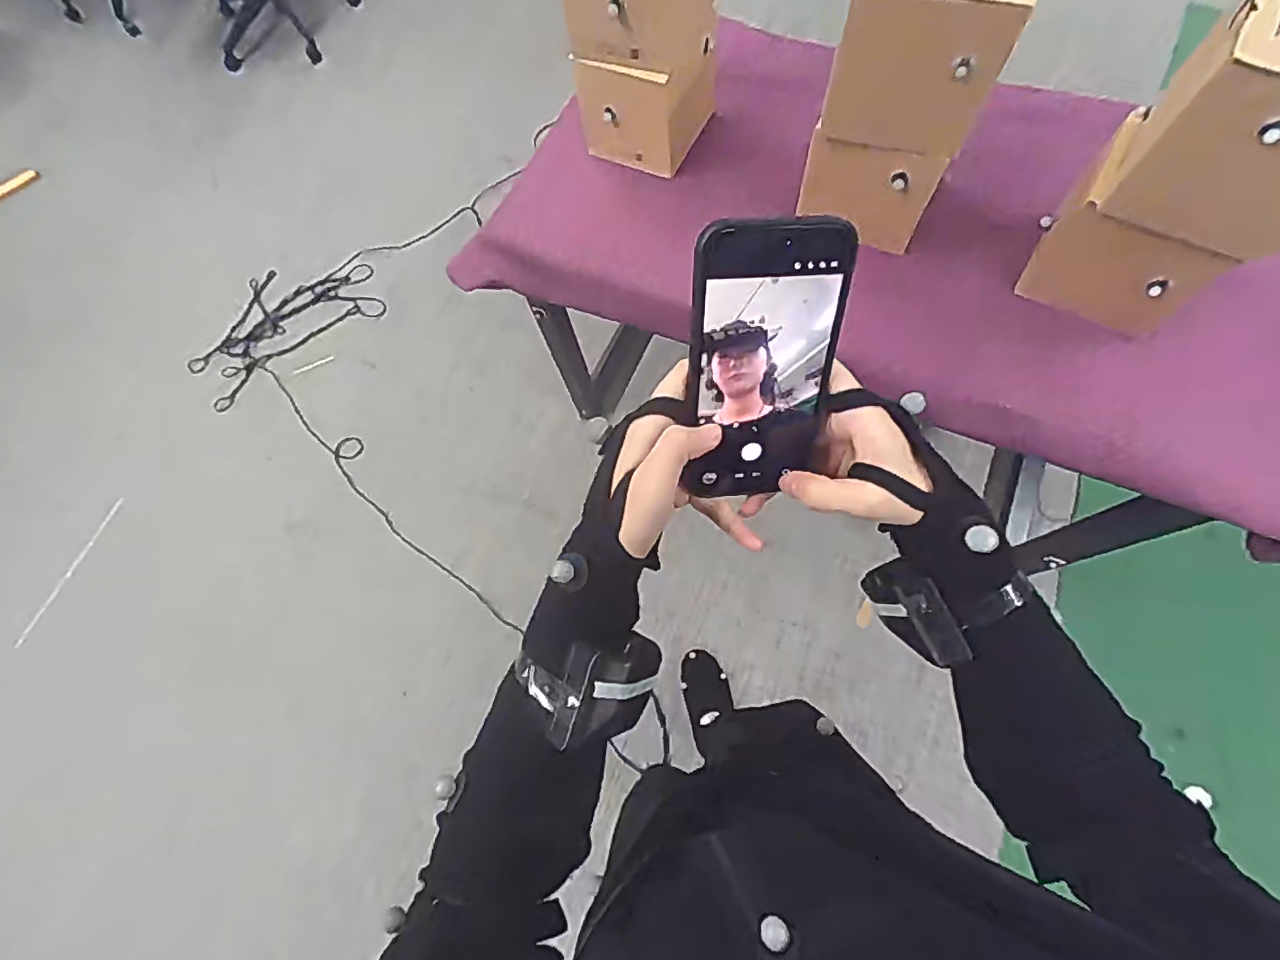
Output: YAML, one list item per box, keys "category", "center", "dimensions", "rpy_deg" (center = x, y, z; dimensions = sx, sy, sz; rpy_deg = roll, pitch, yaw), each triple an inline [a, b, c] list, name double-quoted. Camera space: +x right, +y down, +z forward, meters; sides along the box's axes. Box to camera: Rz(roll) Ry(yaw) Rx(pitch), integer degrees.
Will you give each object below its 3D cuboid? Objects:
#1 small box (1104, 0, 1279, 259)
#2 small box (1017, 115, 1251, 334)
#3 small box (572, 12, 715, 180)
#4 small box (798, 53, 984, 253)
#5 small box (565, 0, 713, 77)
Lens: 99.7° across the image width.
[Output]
- category: "small box"
  center: [0.634, -0.360, 0.547]
  dimensions: [0.179, 0.176, 0.168]
  rpy_deg: [30, 75, 15]
- category: "small box"
  center: [0.650, -0.320, 0.706]
  dimensions: [0.179, 0.176, 0.168]
  rpy_deg: [30, 75, 16]
- category: "small box"
  center: [0.015, -0.635, 0.890]
  dimensions: [0.168, 0.176, 0.179]
  rpy_deg: [24, 74, 14]
- category: "small box"
  center: [0.353, -0.466, 0.790]
  dimensions: [0.179, 0.176, 0.168]
  rpy_deg: [24, 74, 14]
- category: "small box"
  center: [0.002, -0.699, 0.738]
  dimensions: [0.168, 0.176, 0.179]
  rpy_deg: [19, 74, 12]
